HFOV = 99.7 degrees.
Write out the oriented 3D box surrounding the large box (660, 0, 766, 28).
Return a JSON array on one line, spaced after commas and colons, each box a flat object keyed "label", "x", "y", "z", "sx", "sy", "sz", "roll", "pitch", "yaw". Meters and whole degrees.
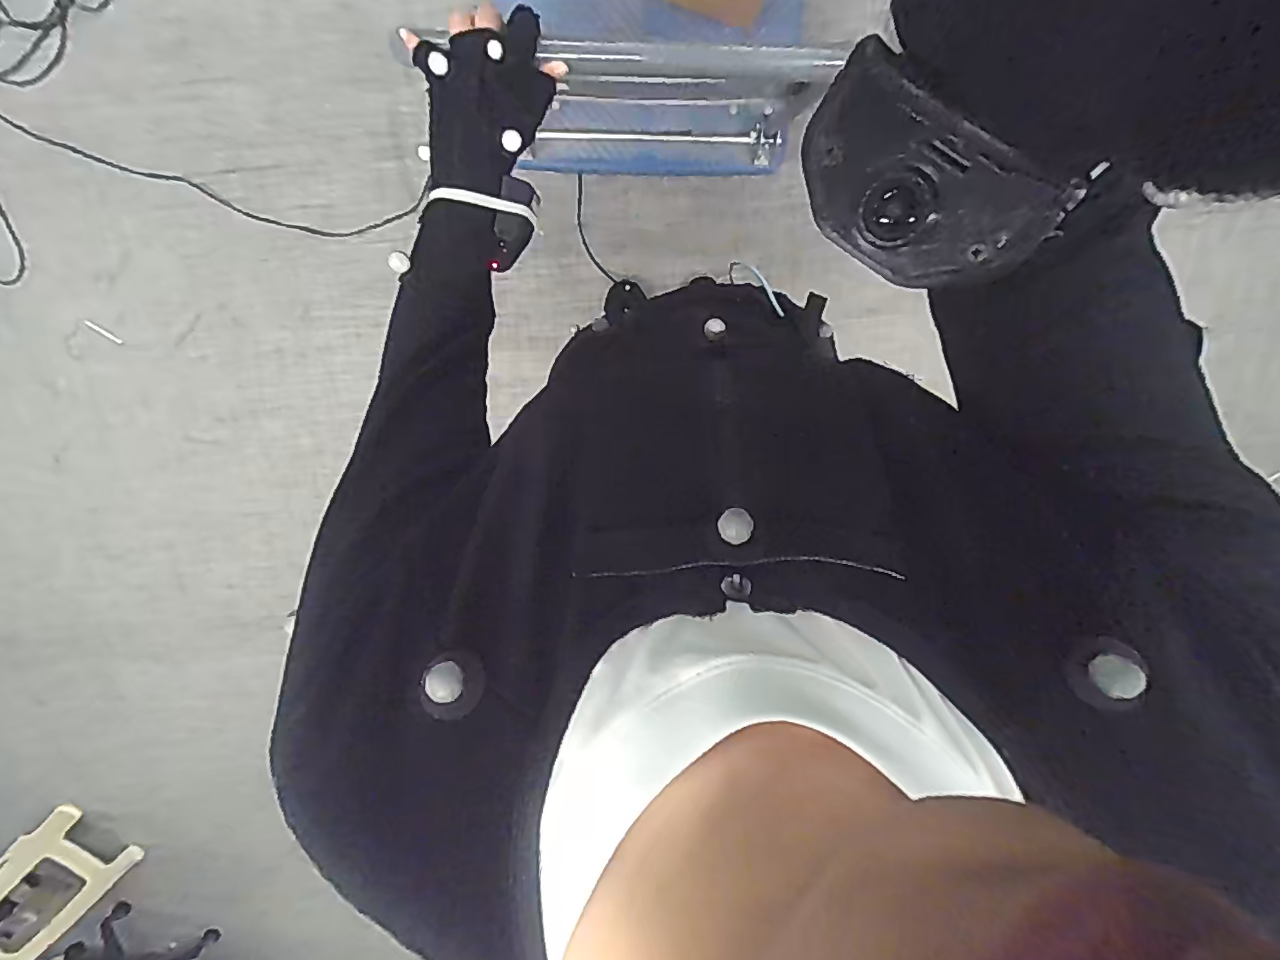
[{"label": "large box", "x": 0.057, "y": -0.977, "z": 0.815, "sx": 0.408, "sy": 0.320, "sz": 0.320, "roll": 16, "pitch": 111, "yaw": -5}]
